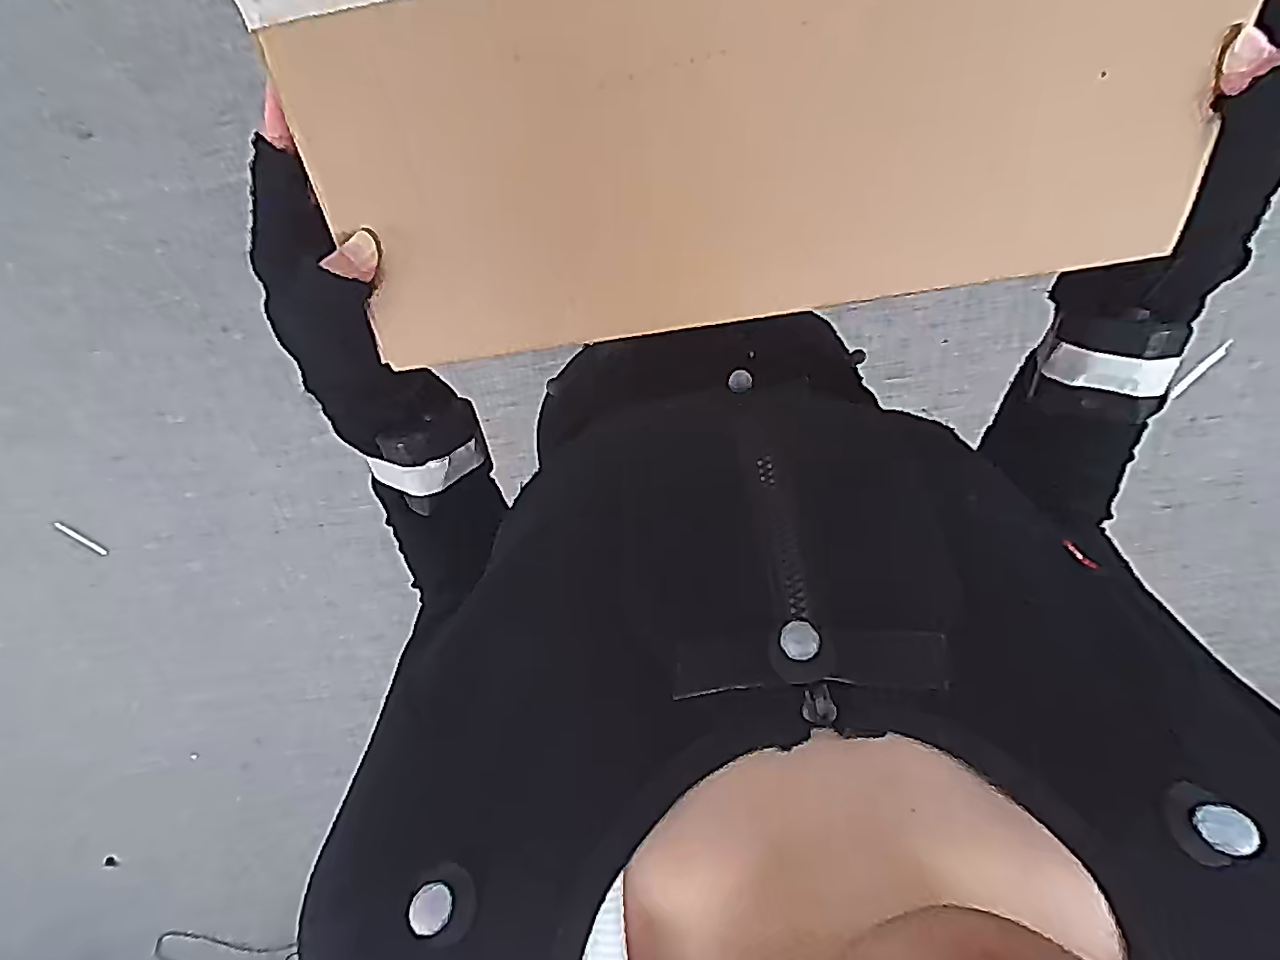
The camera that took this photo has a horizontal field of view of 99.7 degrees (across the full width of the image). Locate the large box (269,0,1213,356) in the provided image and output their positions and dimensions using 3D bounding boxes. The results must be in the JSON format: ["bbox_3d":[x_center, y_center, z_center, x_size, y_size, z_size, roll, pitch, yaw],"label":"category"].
[{"bbox_3d":[0.035,-0.302,0.343,0.408,0.320,0.320,-8,122,3],"label":"large box"}]
